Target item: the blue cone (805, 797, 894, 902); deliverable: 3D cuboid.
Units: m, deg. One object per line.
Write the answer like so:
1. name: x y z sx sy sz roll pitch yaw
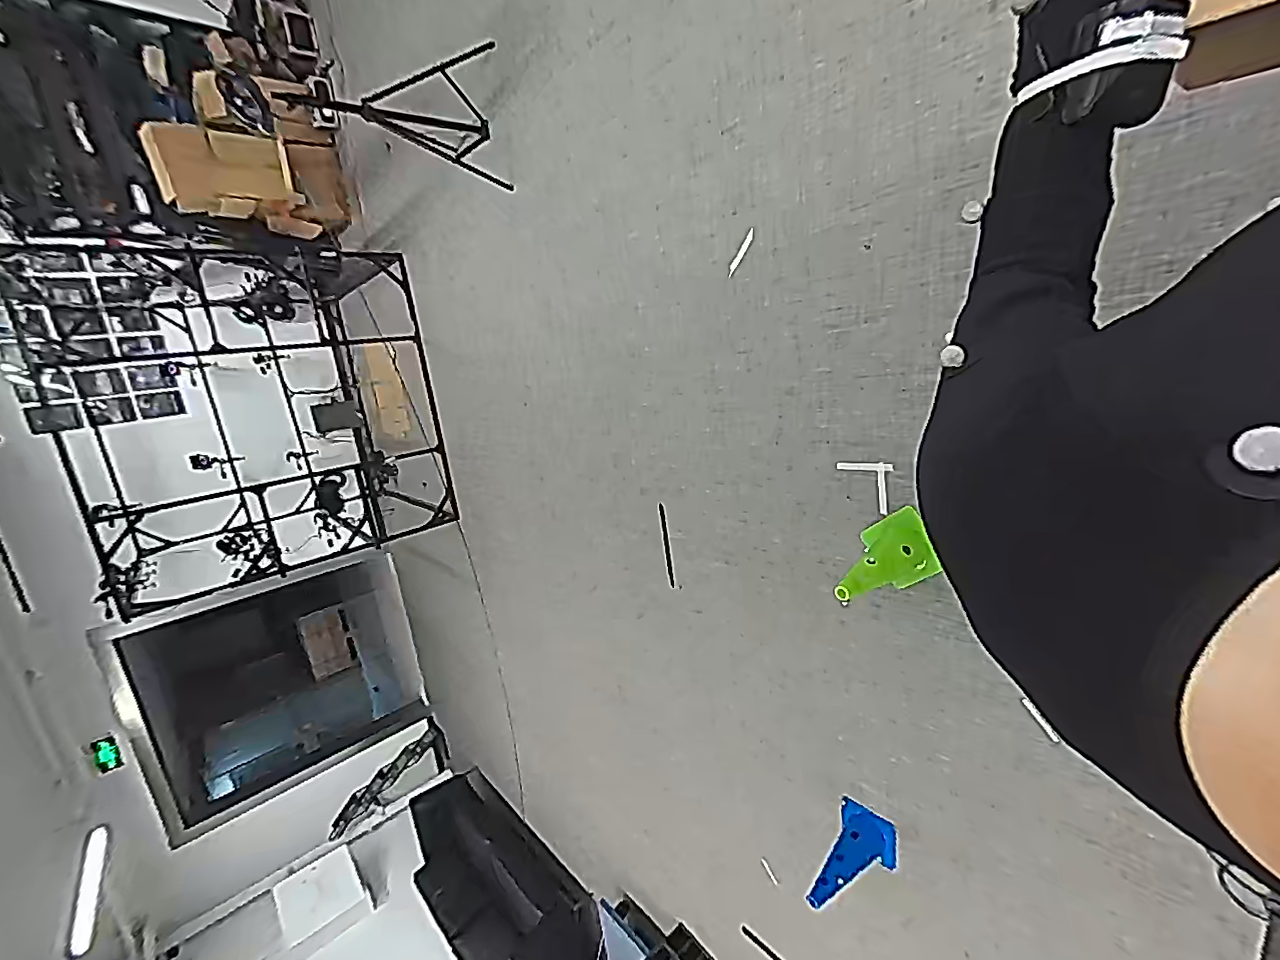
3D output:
1. blue cone: 0.697 1.304 1.850 0.192 0.380 0.193 13 114 49

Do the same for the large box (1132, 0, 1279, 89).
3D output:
1. large box: 0.546 -0.460 0.264 0.408 0.320 0.320 12 119 47

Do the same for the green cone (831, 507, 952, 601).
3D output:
1. green cone: 0.640 0.239 1.471 0.200 0.368 0.202 60 142 17
